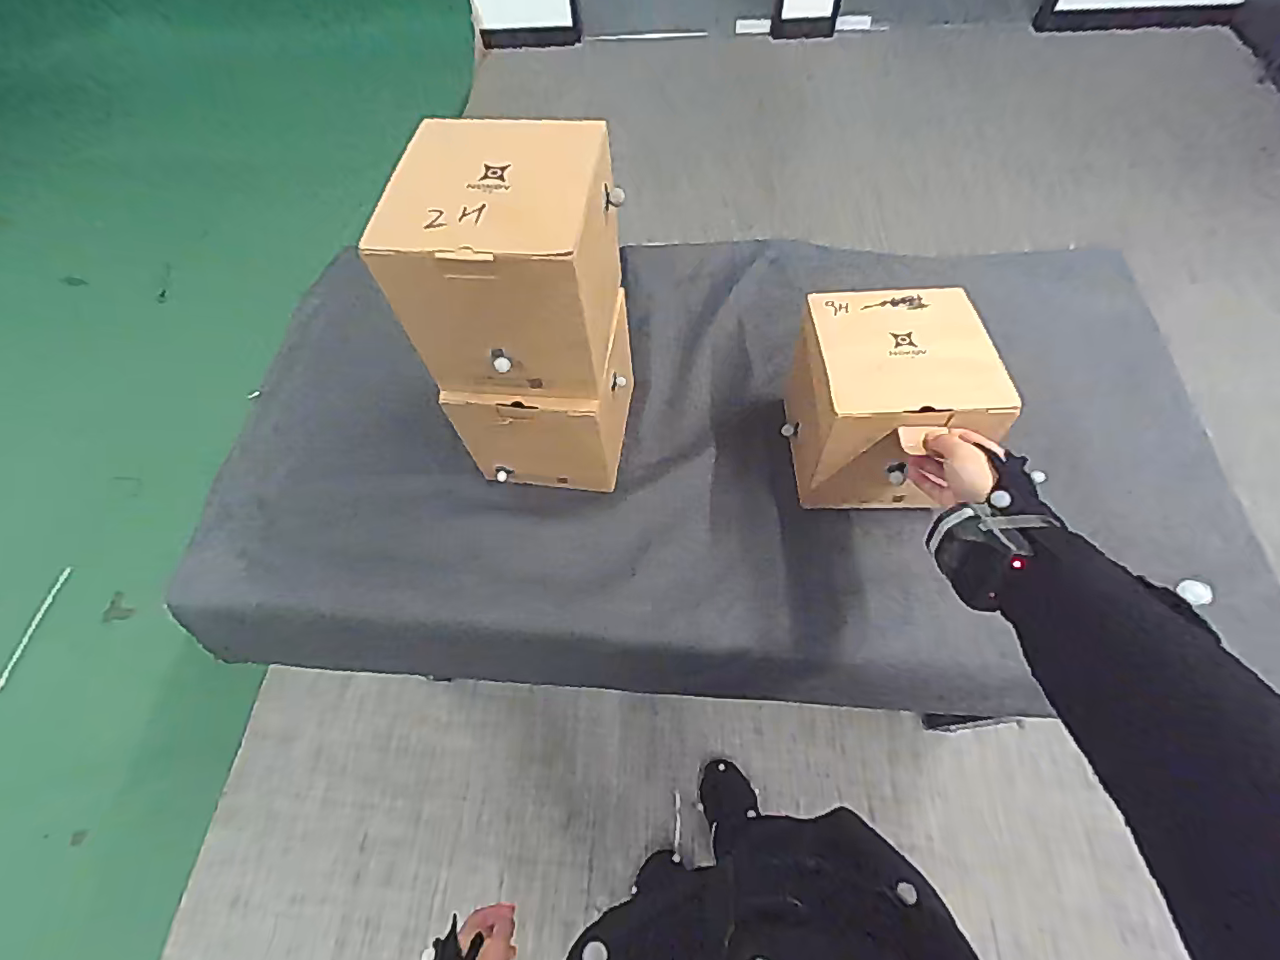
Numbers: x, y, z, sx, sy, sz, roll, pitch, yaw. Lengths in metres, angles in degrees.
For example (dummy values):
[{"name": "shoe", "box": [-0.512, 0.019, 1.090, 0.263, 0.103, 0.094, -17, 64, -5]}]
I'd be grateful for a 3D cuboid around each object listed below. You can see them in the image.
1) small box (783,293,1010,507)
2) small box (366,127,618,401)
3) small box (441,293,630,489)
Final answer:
[{"name": "small box", "box": [0.261, -0.081, 0.603, 0.168, 0.176, 0.179, -1, 55, 4]}, {"name": "small box", "box": [-0.115, -0.198, 0.511, 0.168, 0.176, 0.179, 4, 61, 6]}, {"name": "small box", "box": [-0.106, -0.105, 0.647, 0.168, 0.176, 0.179, 6, 61, 6]}]
